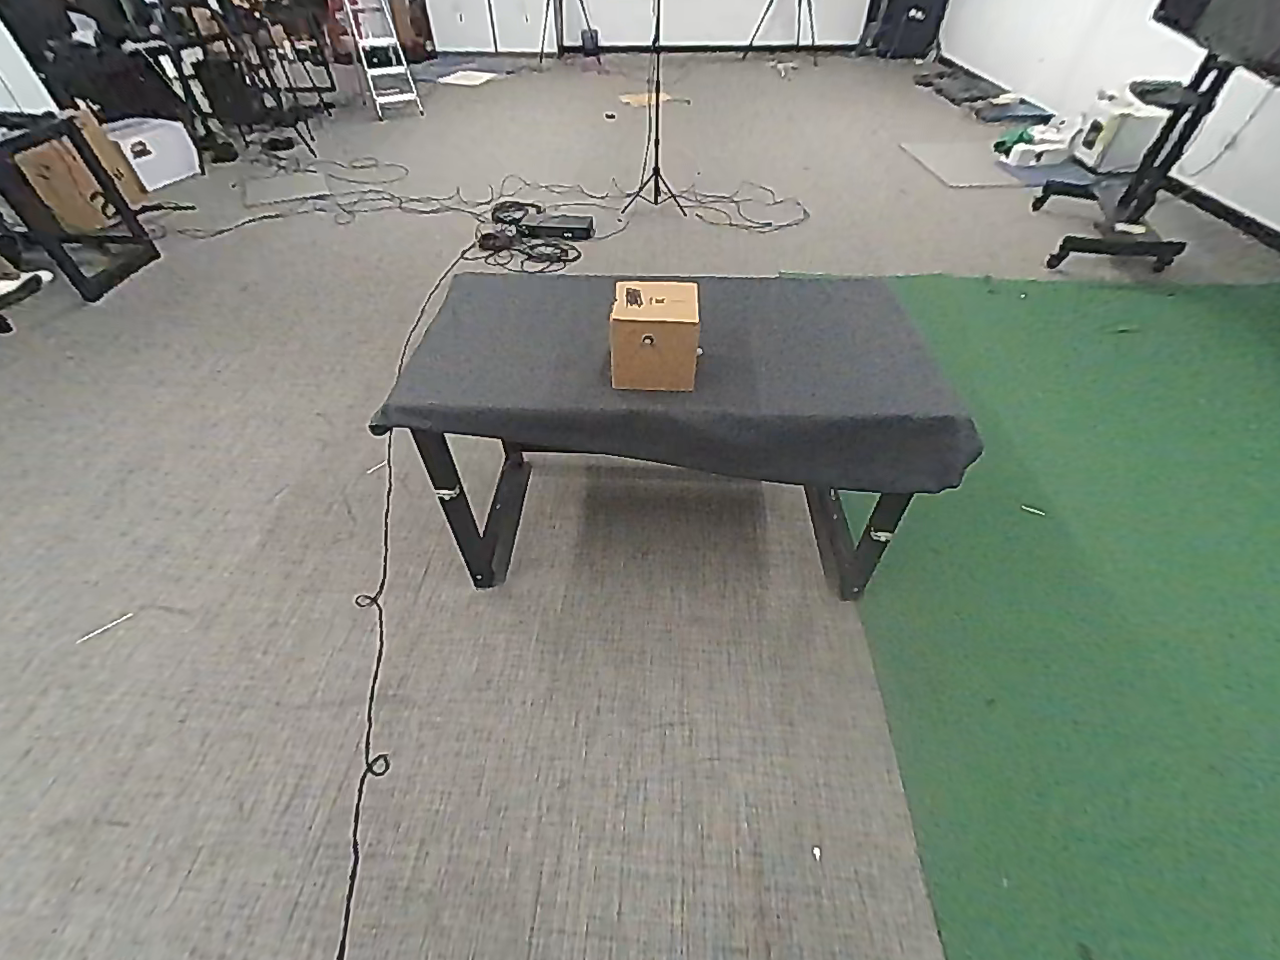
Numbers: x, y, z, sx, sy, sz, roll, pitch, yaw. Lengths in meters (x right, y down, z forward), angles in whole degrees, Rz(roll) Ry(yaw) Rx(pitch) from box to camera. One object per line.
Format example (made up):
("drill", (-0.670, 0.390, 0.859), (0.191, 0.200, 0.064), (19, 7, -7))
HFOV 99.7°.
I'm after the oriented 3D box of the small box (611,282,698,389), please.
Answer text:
("small box", (0.033, -0.312, 1.174), (0.179, 0.176, 0.168), (3, 46, 1))
